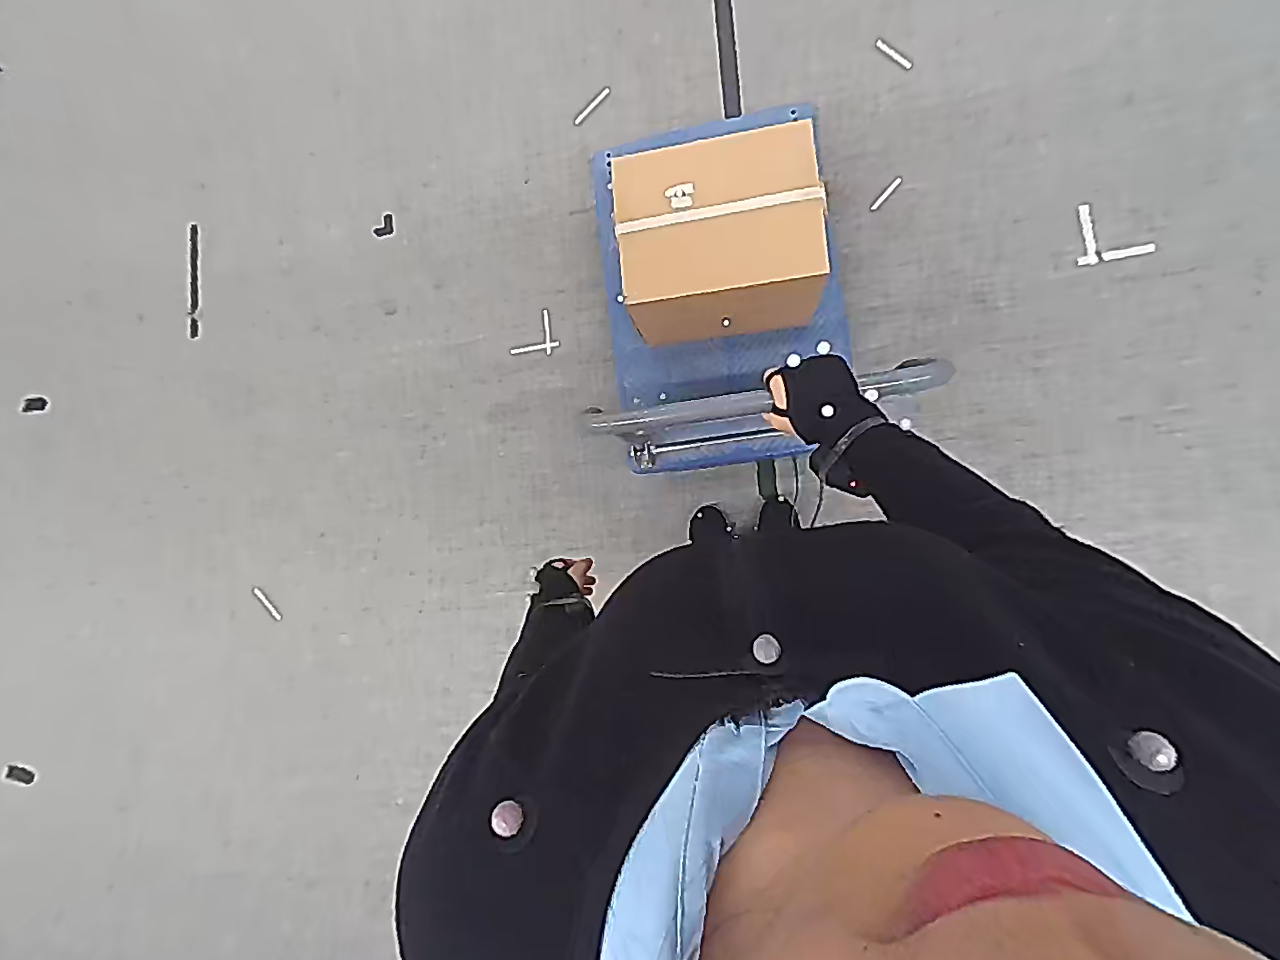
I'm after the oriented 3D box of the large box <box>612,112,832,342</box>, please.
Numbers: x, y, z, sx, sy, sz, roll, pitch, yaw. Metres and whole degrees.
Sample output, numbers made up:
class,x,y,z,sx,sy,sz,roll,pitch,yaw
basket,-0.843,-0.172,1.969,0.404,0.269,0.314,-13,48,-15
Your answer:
class,x,y,z,sx,sy,sz,roll,pitch,yaw
large box,0.181,-0.524,1.202,0.408,0.320,0.320,-6,85,11
